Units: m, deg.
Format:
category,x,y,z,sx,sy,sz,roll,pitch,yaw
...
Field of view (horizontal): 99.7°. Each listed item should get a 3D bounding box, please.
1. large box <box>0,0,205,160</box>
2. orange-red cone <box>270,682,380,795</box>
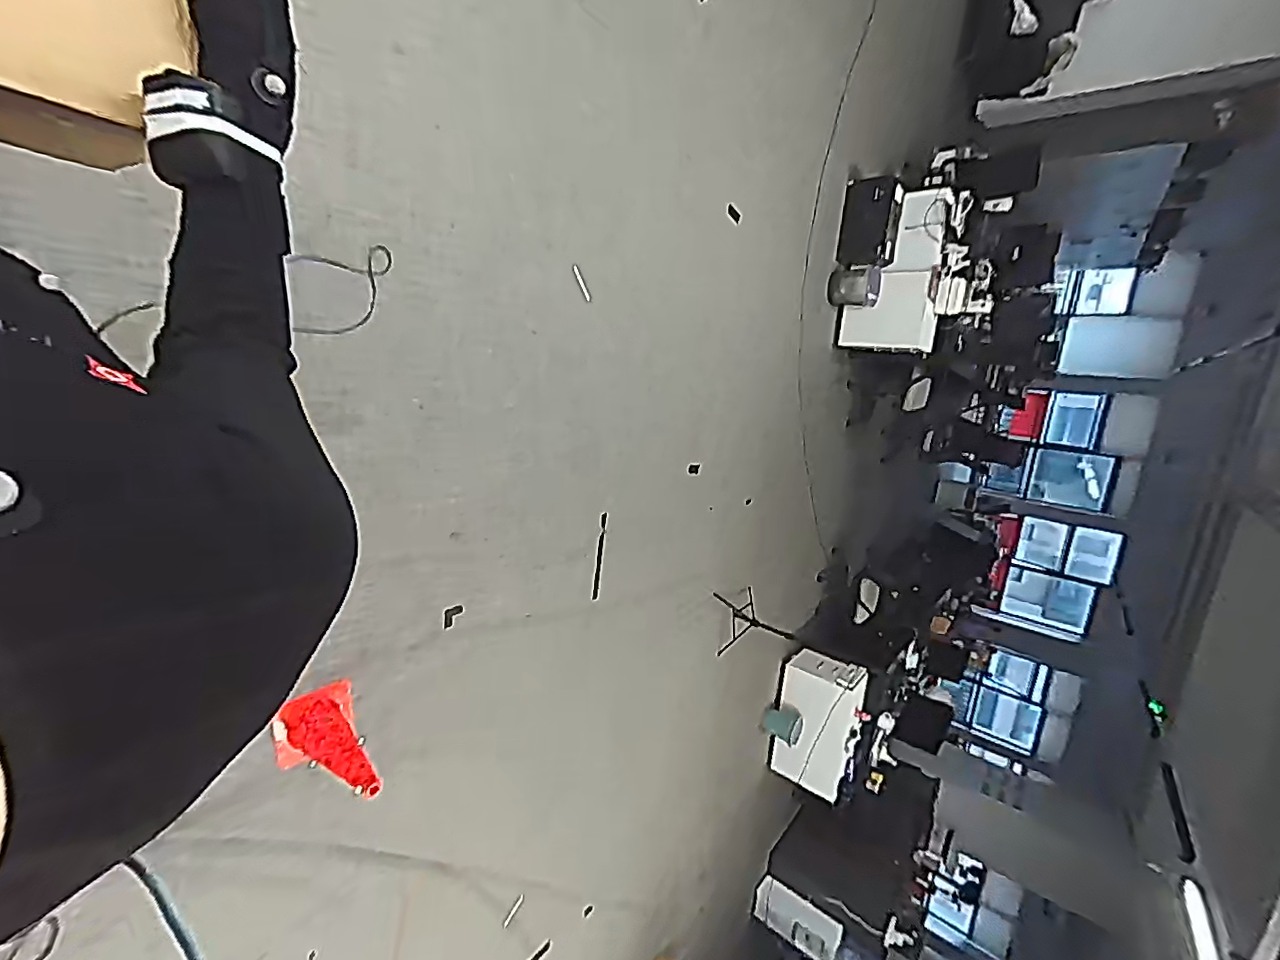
category,x,y,z,sx,sy,sz,roll,pitch,yaw
large box,-0.552,-0.429,0.309,0.408,0.320,0.320,-9,113,-53
orange-red cone,-0.793,0.720,1.425,0.198,0.360,0.199,-12,109,-51
